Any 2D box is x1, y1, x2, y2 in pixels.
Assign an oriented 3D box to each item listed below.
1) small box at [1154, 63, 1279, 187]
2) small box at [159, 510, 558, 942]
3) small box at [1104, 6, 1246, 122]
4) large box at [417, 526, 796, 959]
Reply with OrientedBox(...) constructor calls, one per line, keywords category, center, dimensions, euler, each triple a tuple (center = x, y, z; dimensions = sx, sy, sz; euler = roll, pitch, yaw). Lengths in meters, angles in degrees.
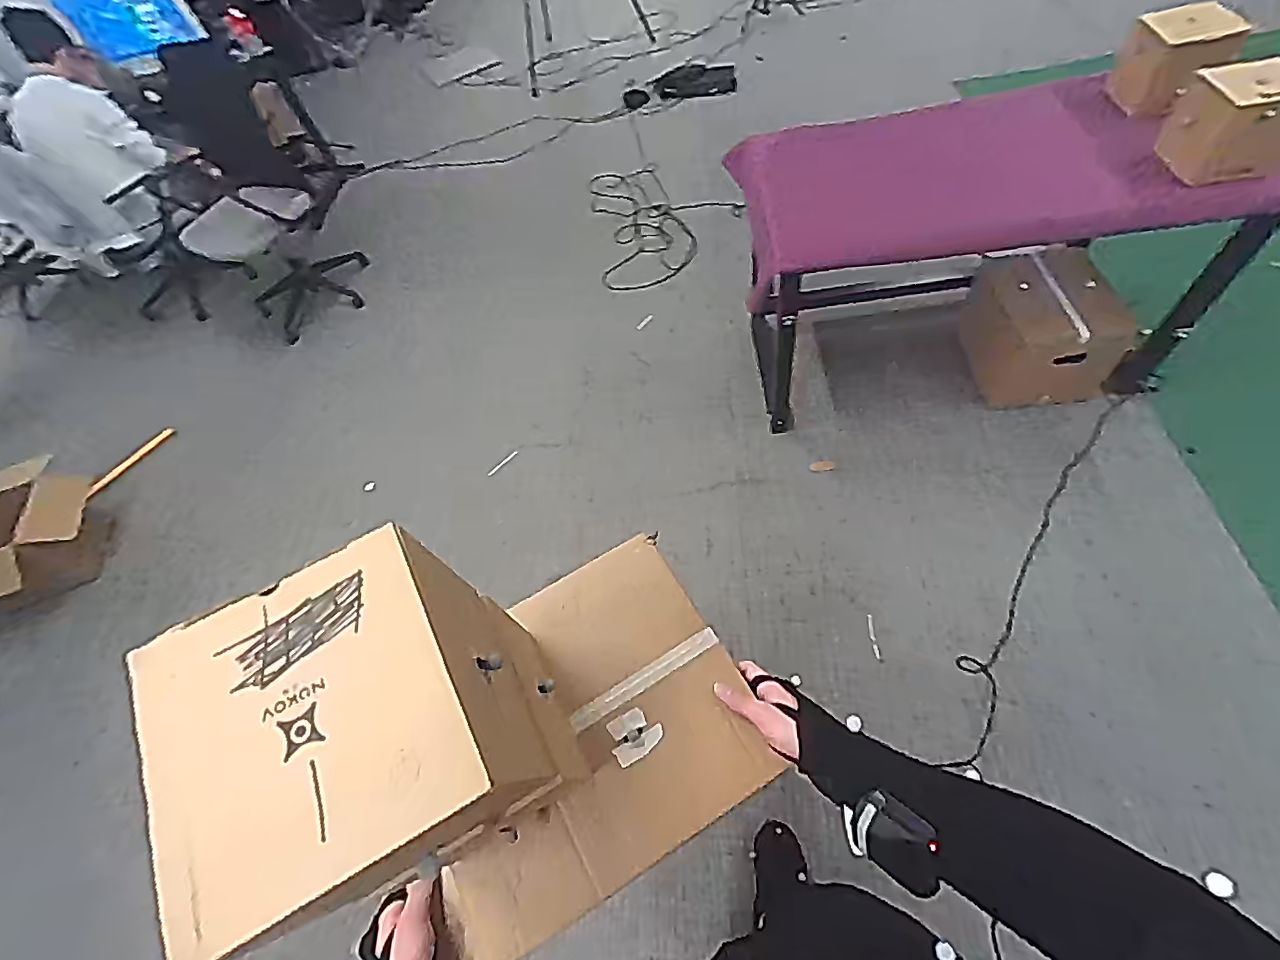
OrientedBox(category="small box", center=(1.311, -0.783, 1.201), dimensions=(0.168, 0.176, 0.179), euler=(-4, 54, 11))
OrientedBox(category="small box", center=(-0.175, 0.156, 0.375), dimensions=(0.168, 0.176, 0.179), euler=(-27, 65, -10))
OrientedBox(category="small box", center=(1.335, -1.048, 1.369), dimensions=(0.168, 0.176, 0.179), euler=(-5, 58, 12))
OrientedBox(category="large box", center=(-0.067, 0.336, 0.737), dimensions=(0.408, 0.320, 0.320), euler=(-28, 66, -11))
